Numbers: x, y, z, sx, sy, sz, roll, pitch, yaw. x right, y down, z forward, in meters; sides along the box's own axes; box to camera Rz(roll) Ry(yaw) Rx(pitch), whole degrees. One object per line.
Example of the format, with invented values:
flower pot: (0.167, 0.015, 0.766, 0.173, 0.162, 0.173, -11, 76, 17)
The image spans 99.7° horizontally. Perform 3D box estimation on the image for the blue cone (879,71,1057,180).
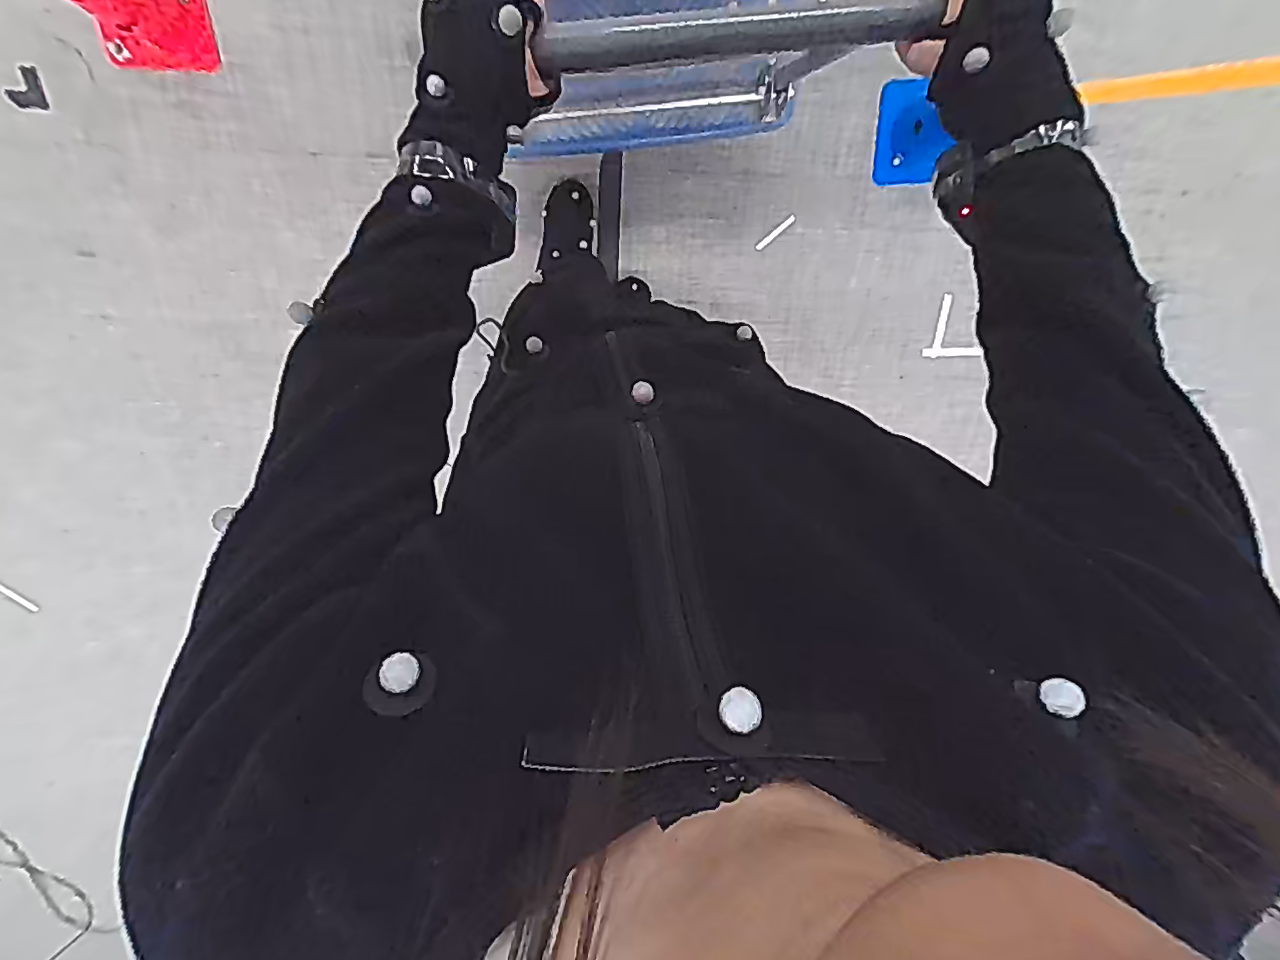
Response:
blue cone: (0.640, -0.705, 1.043, 0.193, 0.380, 0.192, -4, 114, -4)
